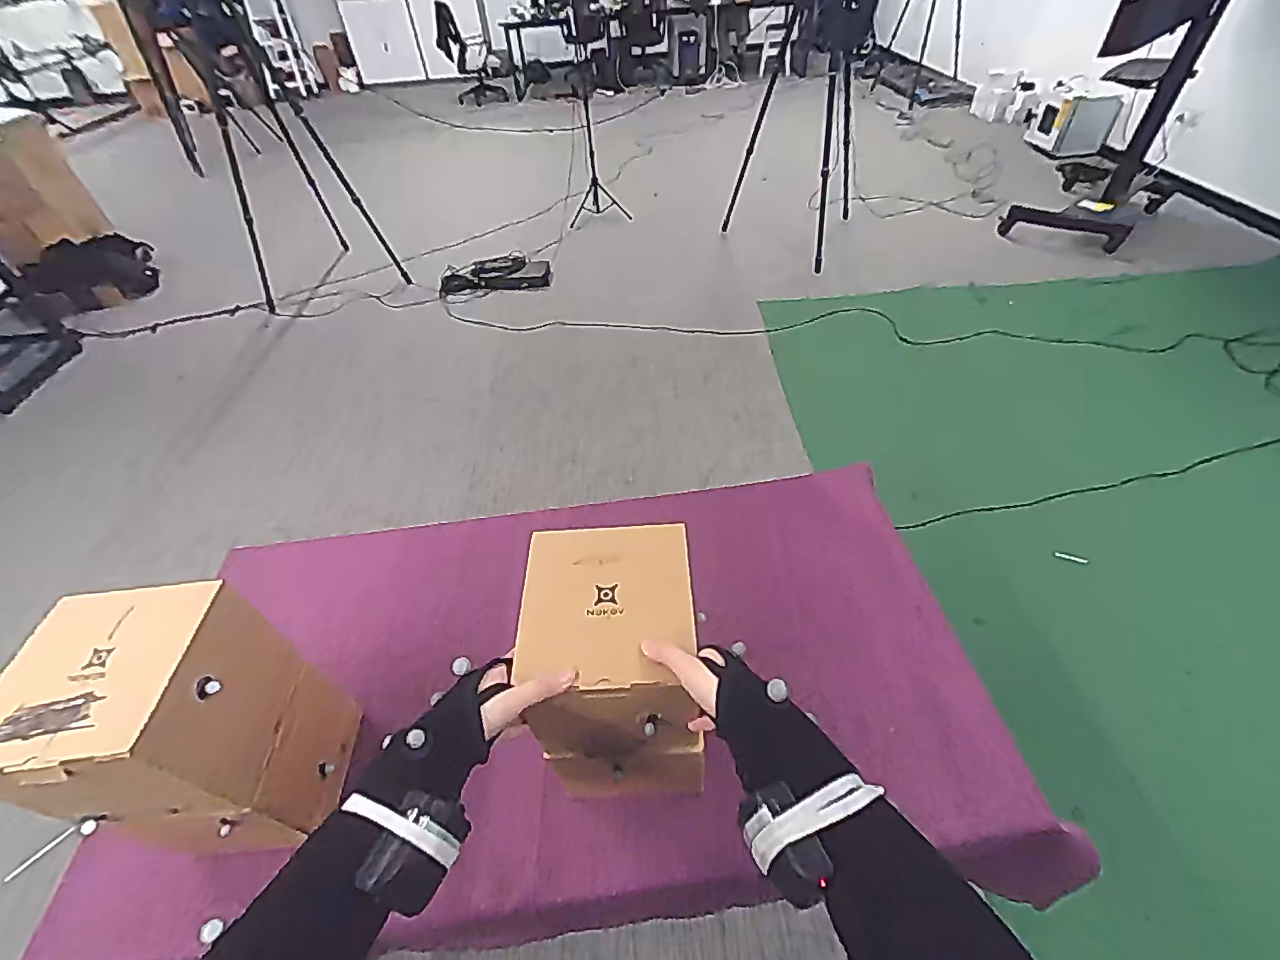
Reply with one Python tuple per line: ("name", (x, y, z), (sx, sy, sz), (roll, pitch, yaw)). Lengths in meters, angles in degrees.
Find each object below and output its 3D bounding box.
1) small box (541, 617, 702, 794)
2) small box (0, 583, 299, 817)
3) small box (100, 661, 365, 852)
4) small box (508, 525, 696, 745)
("small box", (-0.014, 0.290, 0.691), (0.179, 0.176, 0.168), (-4, 47, 3))
("small box", (-0.502, 0.235, 0.569), (0.168, 0.176, 0.179), (-6, 45, -1))
("small box", (-0.488, 0.352, 0.684), (0.179, 0.176, 0.168), (-6, 46, -1))
("small box", (-0.028, 0.171, 0.580), (0.168, 0.176, 0.179), (-3, 46, 3))
